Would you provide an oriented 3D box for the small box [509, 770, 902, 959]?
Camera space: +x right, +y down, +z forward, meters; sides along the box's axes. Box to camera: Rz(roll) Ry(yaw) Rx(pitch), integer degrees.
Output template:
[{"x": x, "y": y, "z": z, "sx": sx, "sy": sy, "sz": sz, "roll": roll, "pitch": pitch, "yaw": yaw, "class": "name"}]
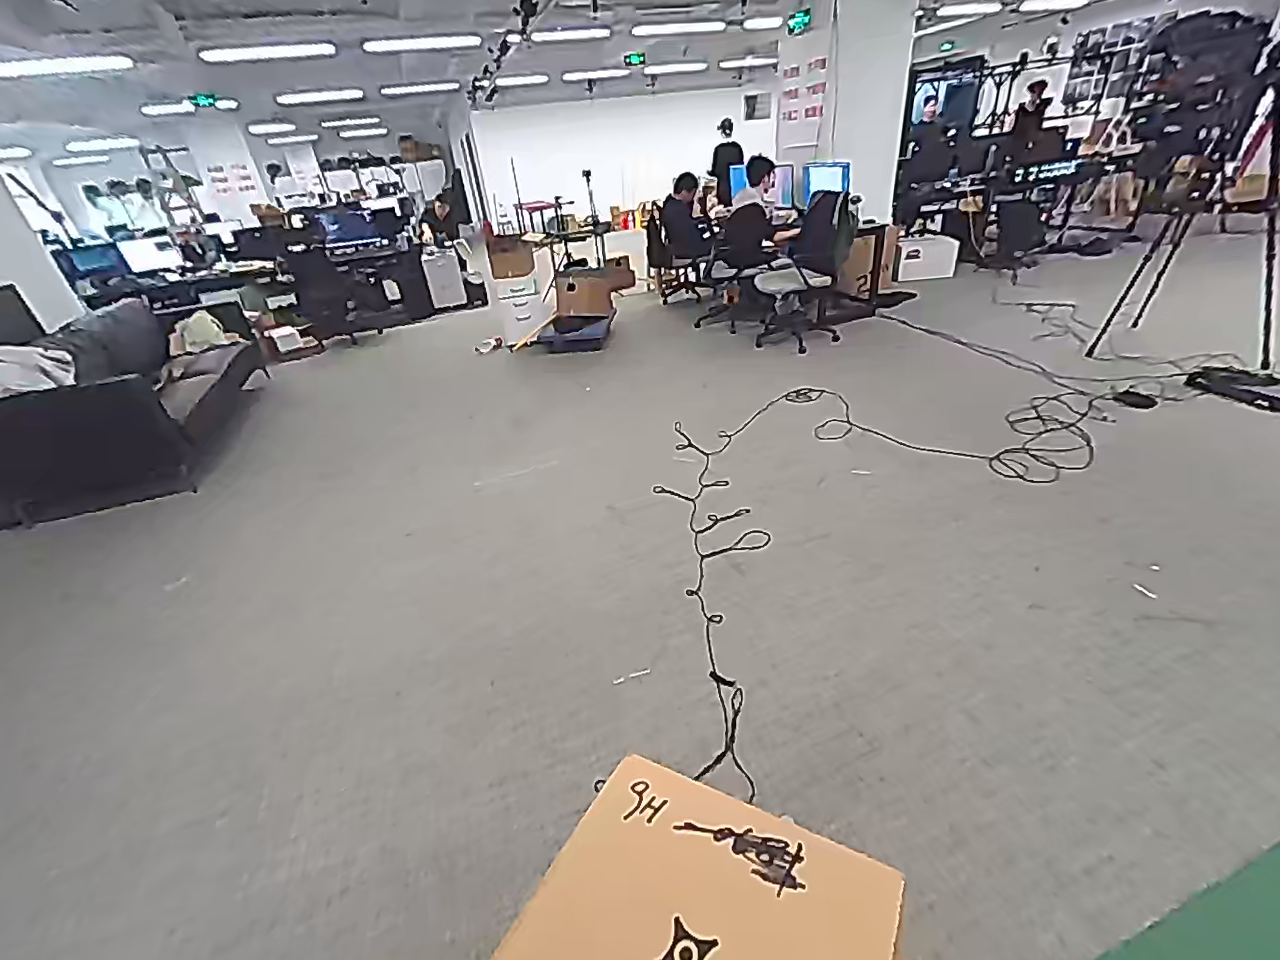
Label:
[{"x": 0.033, "y": 0.306, "z": 0.282, "sx": 0.168, "sy": 0.176, "sz": 0.179, "roll": 6, "pitch": 31, "yaw": 32, "class": "small box"}]
